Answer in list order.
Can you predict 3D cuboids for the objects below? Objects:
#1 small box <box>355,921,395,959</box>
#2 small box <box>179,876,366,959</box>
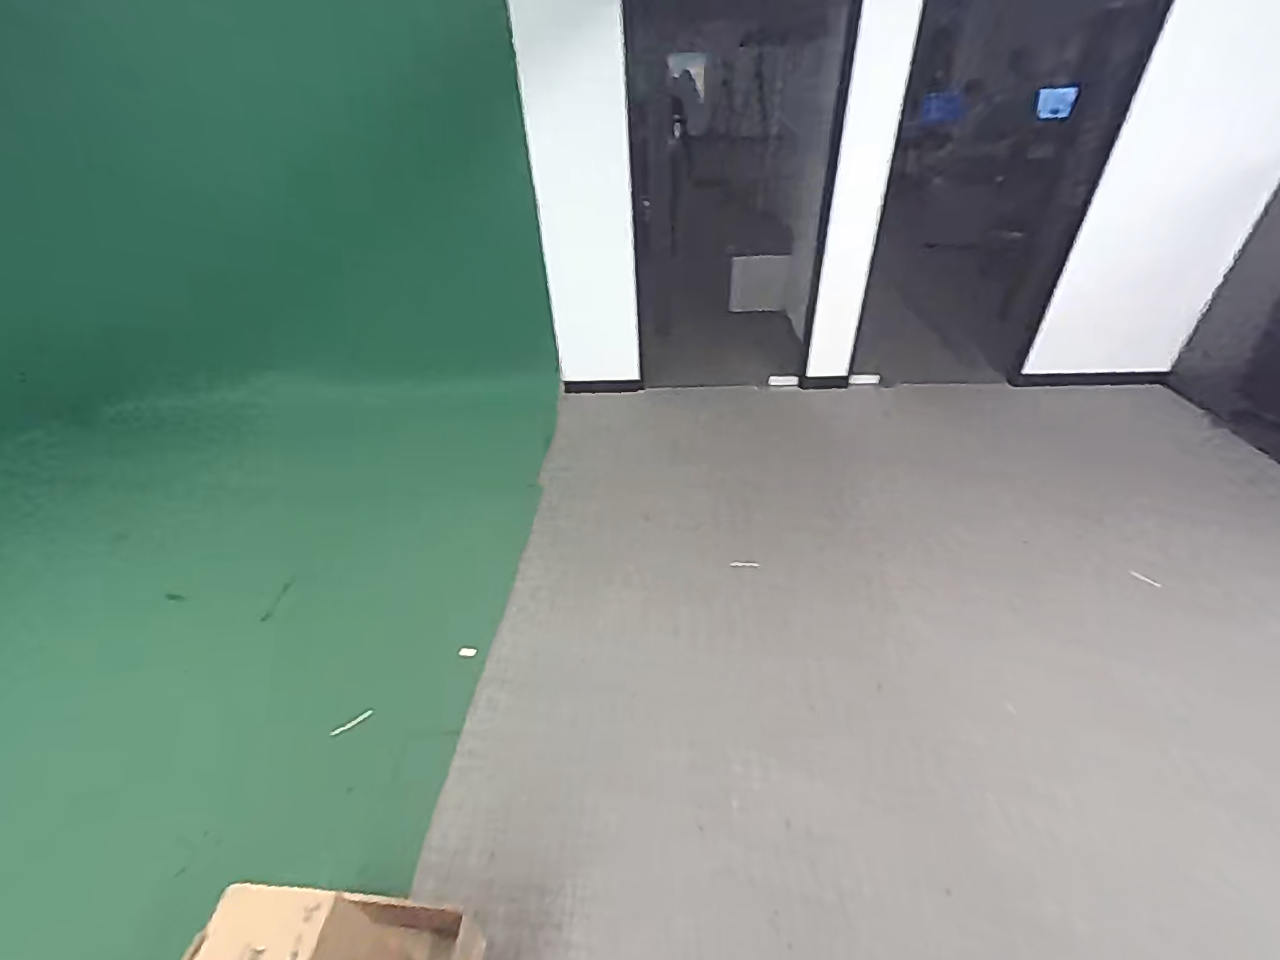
[{"bbox_3d":[-0.549,0.855,0.907,0.179,0.176,0.168,4,38,5],"label":"small box"},{"bbox_3d":[-0.552,0.723,0.808,0.179,0.176,0.168,1,37,5],"label":"small box"}]
